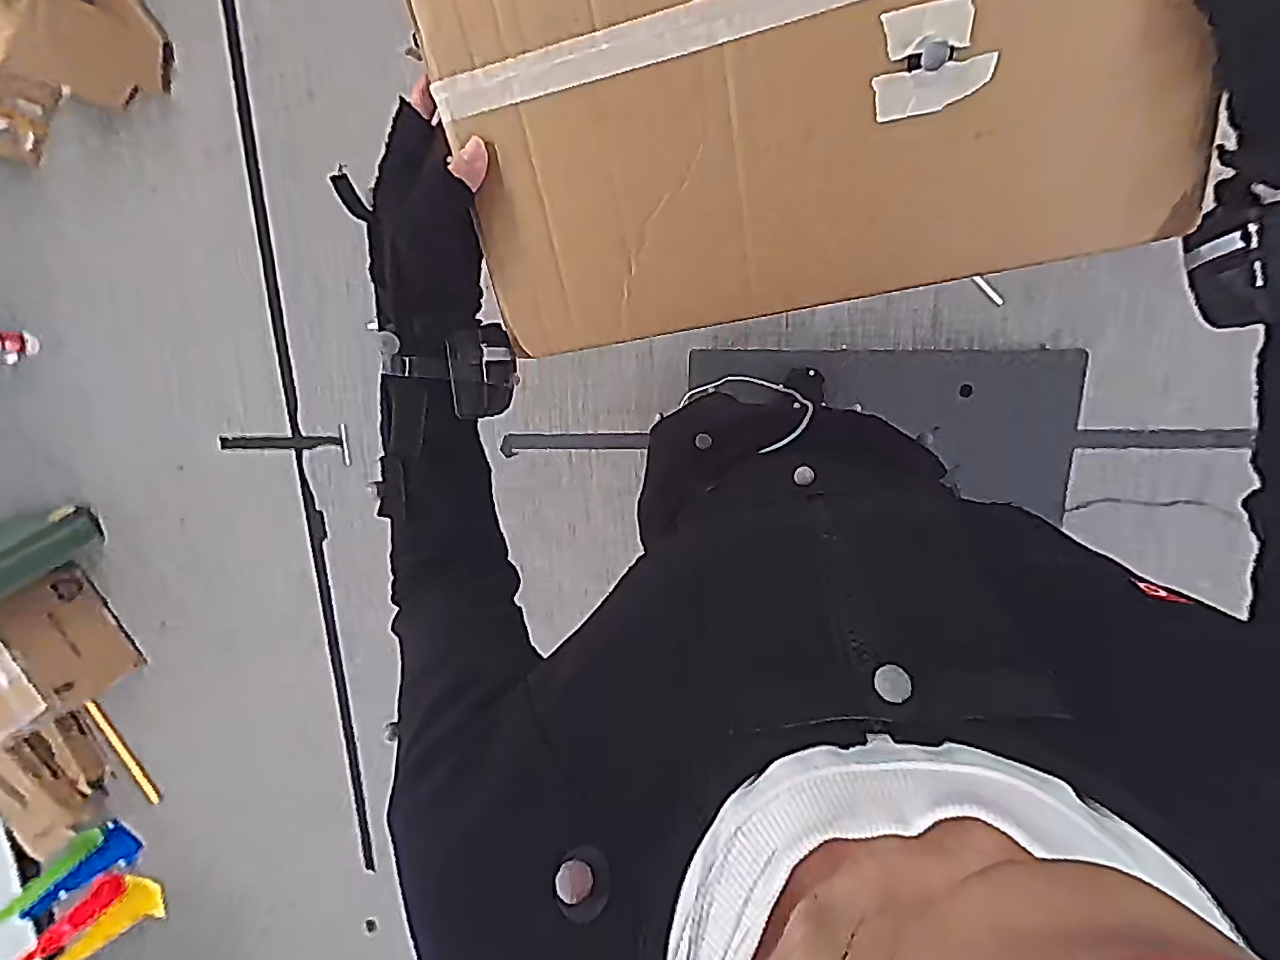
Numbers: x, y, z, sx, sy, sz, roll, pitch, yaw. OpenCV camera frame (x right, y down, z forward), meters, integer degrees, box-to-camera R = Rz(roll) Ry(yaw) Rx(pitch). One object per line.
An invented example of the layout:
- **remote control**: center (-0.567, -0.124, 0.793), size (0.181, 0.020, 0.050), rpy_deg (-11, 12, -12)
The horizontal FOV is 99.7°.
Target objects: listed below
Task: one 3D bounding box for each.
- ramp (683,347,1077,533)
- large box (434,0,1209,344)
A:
- **ramp**: center (0.613, -0.100, 1.427), size (0.991, 0.206, 0.509), rpy_deg (0, 99, 12)
- **large box**: center (0.099, -0.322, 0.425), size (0.408, 0.320, 0.320), rpy_deg (-8, 114, 11)
